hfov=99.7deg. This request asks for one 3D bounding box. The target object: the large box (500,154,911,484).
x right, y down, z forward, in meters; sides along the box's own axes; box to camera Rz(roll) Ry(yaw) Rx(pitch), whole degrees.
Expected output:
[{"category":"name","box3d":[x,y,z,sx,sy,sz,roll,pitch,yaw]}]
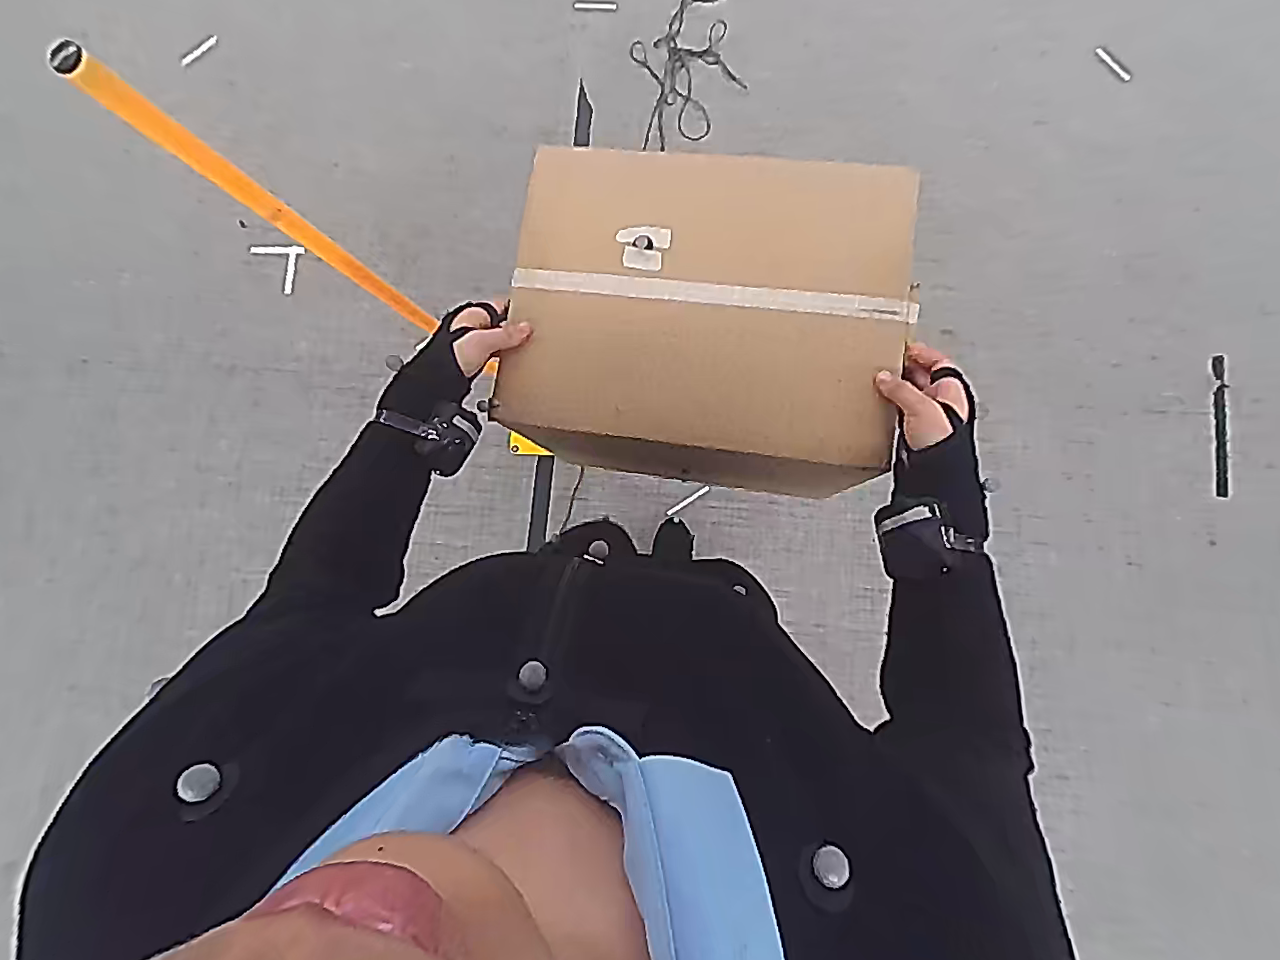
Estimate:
[{"category":"large box","box3d":[0.085,-0.178,0.709,0.408,0.320,0.320,7,83,9]}]
